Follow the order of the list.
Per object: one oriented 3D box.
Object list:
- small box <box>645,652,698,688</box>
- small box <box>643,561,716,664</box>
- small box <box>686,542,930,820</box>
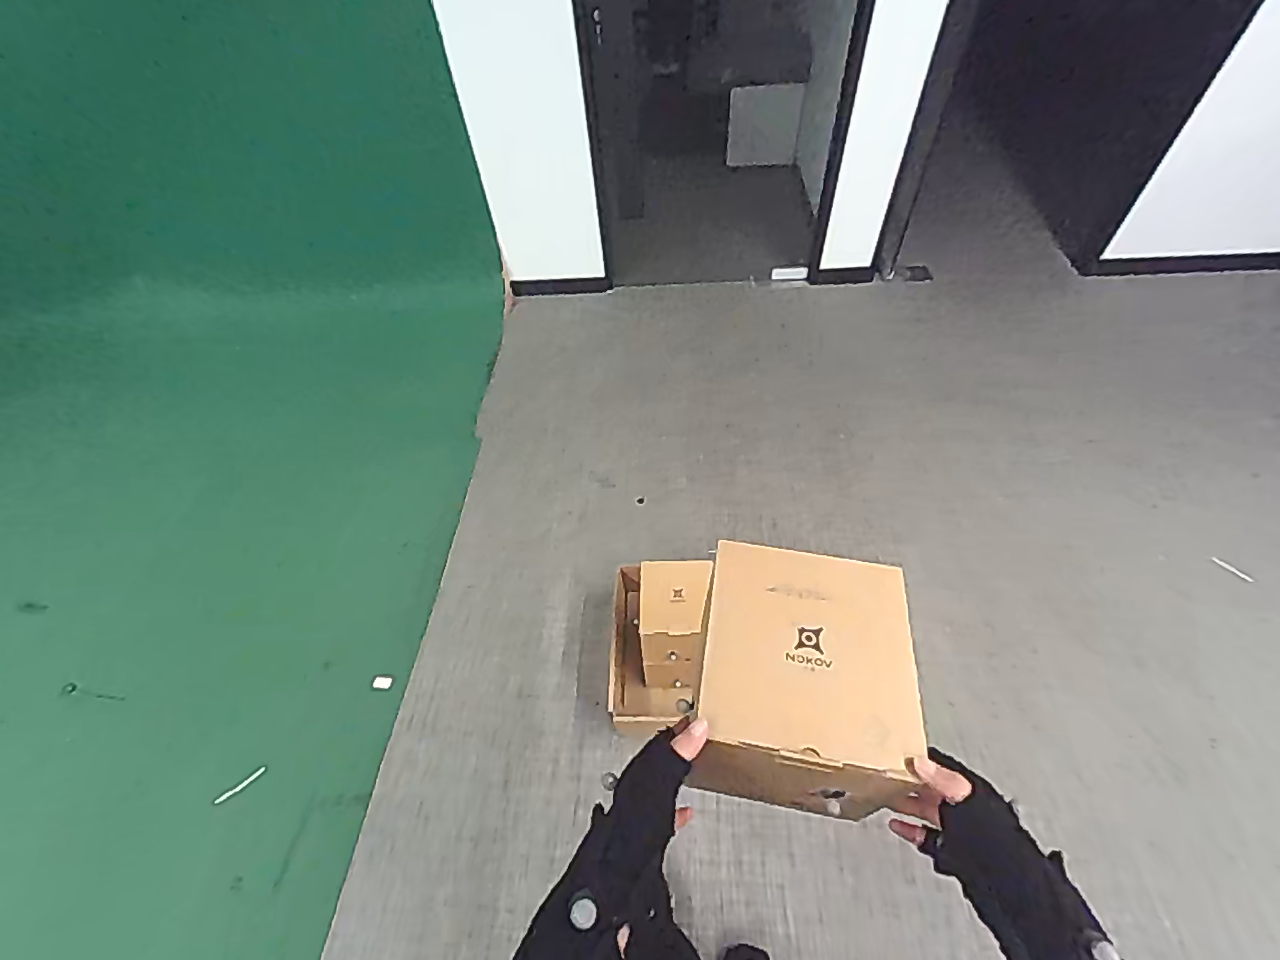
[{"bbox_3d":[0.101,0.404,1.353,0.168,0.176,0.179,0,51,4],"label":"small box"},{"bbox_3d":[0.092,0.300,1.228,0.168,0.176,0.179,-1,51,3],"label":"small box"},{"bbox_3d":[0.136,0.185,0.492,0.168,0.176,0.179,9,50,7],"label":"small box"}]
